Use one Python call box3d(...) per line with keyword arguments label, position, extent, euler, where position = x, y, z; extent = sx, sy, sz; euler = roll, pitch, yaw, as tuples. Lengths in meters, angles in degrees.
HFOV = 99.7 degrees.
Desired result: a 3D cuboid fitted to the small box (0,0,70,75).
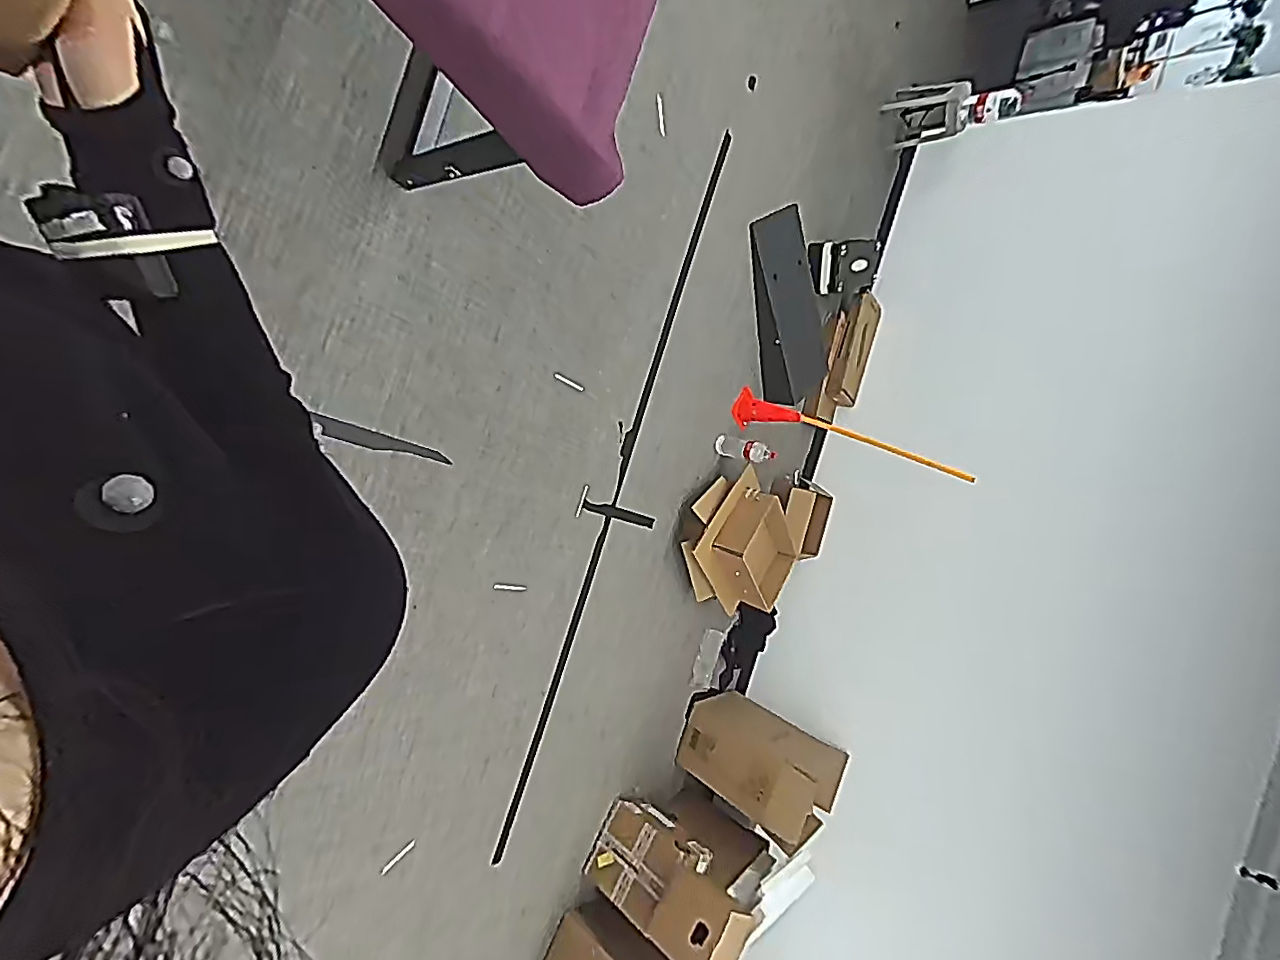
box3d(label="small box", position=(-0.340, -0.308, 0.208), extent=(0.168, 0.176, 0.179), euler=(-3, 99, -56))
